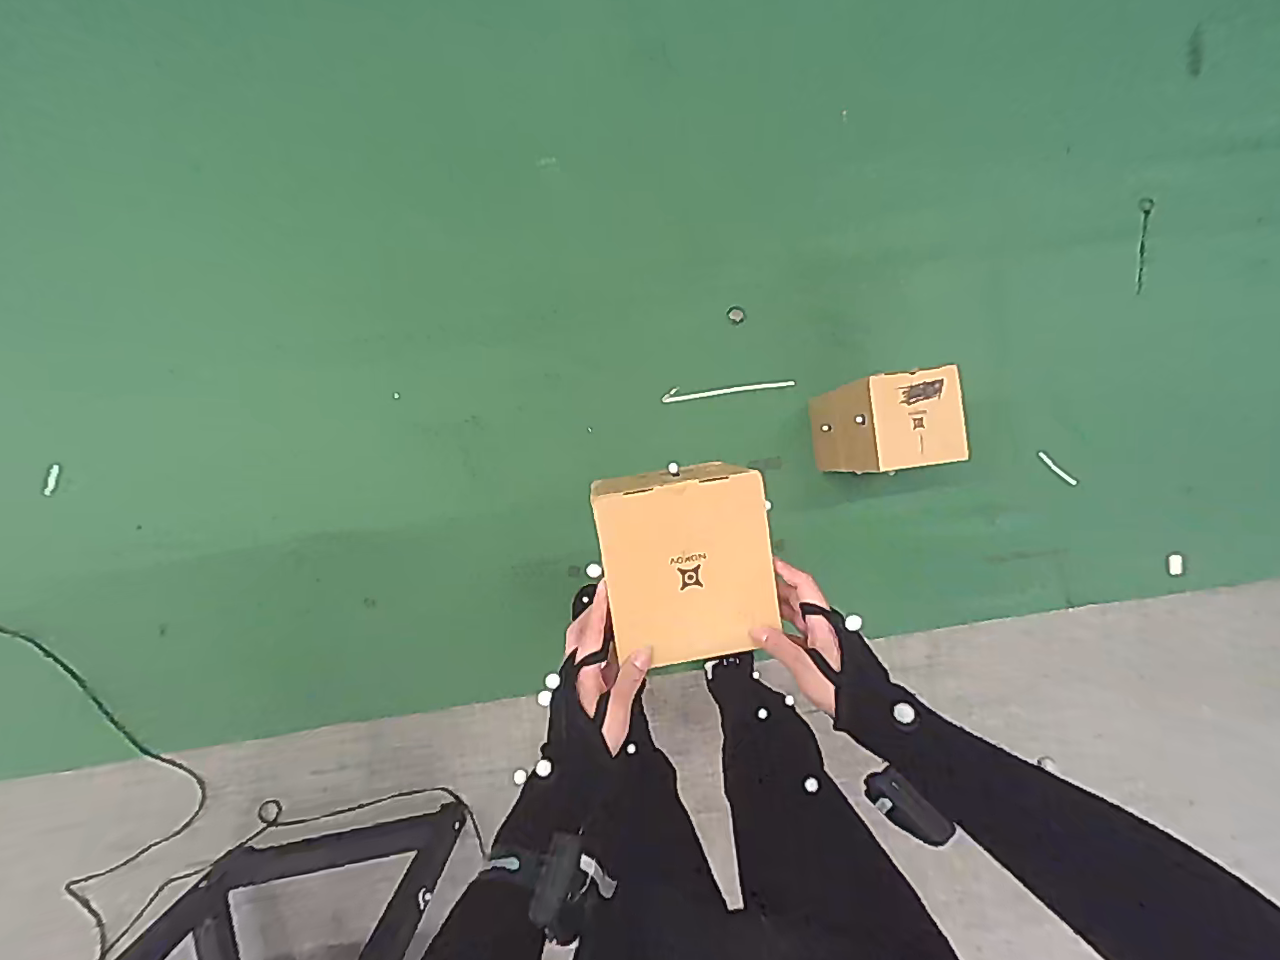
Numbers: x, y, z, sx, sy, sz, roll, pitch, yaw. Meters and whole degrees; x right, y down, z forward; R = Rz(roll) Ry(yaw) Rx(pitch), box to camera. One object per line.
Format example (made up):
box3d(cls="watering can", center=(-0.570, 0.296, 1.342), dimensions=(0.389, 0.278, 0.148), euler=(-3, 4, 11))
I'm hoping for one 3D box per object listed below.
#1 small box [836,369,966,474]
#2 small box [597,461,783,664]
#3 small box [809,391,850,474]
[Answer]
box3d(cls="small box", center=(0.499, -0.107, 1.056), dimensions=(0.168, 0.176, 0.179), euler=(-7, 91, -1))
box3d(cls="small box", center=(0.046, 0.077, 0.602), dimensions=(0.168, 0.176, 0.179), euler=(-8, 94, -4))
box3d(cls="small box", center=(0.493, -0.108, 1.221), dimensions=(0.168, 0.176, 0.179), euler=(-7, 91, -1))
